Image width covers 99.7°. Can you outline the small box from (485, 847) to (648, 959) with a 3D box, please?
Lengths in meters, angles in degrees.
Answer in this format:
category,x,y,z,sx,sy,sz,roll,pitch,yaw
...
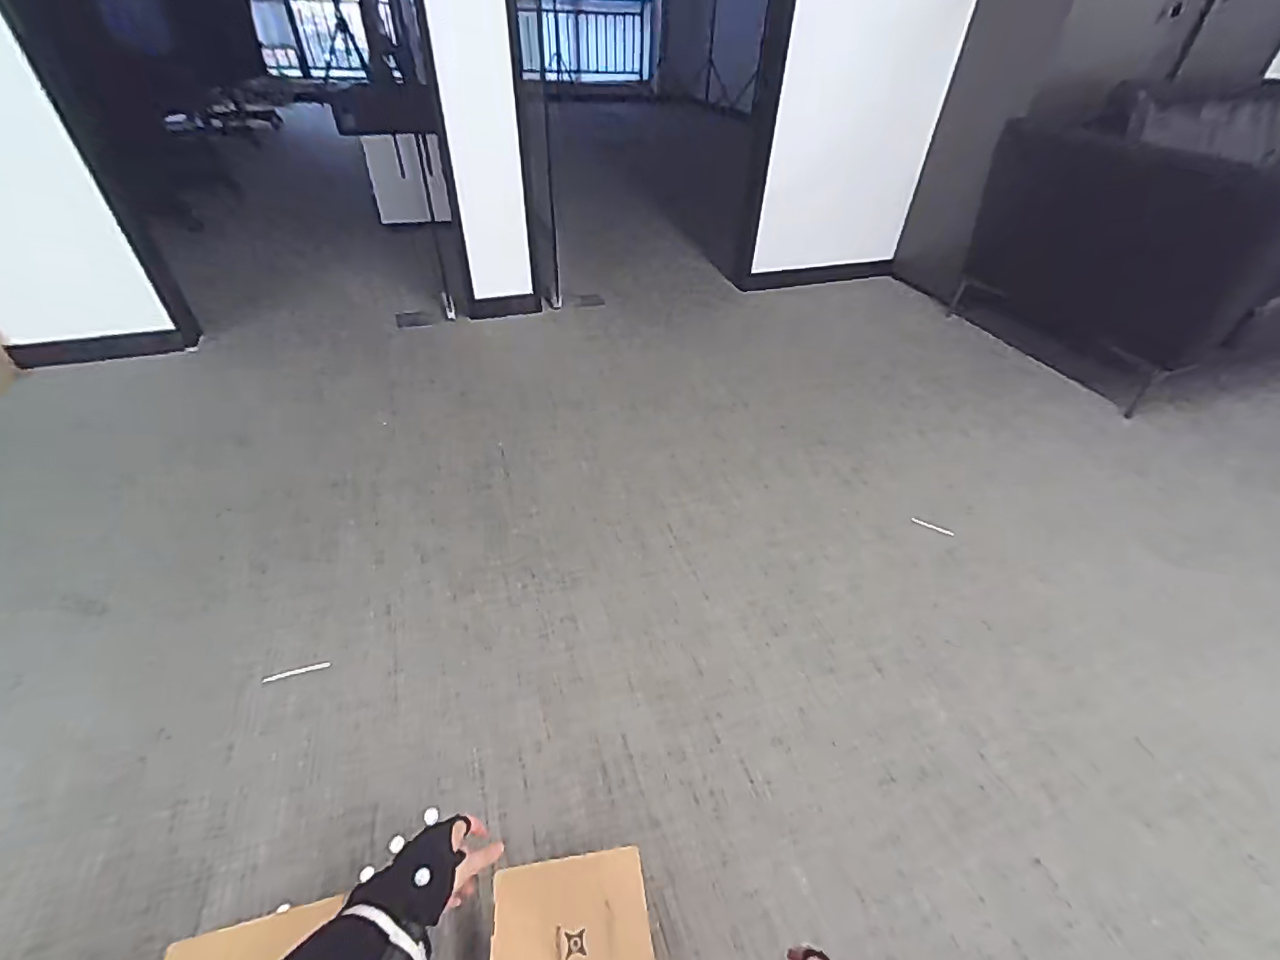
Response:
category,x,y,z,sx,sy,sz,roll,pitch,yaw
small box,-0.083,0.568,0.642,0.179,0.176,0.168,-4,42,-9

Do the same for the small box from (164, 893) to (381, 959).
category,x,y,z,sx,sy,sz,roll,pitch,yaw
small box,-0.405,0.596,0.591,0.179,0.176,0.168,-8,41,-14
